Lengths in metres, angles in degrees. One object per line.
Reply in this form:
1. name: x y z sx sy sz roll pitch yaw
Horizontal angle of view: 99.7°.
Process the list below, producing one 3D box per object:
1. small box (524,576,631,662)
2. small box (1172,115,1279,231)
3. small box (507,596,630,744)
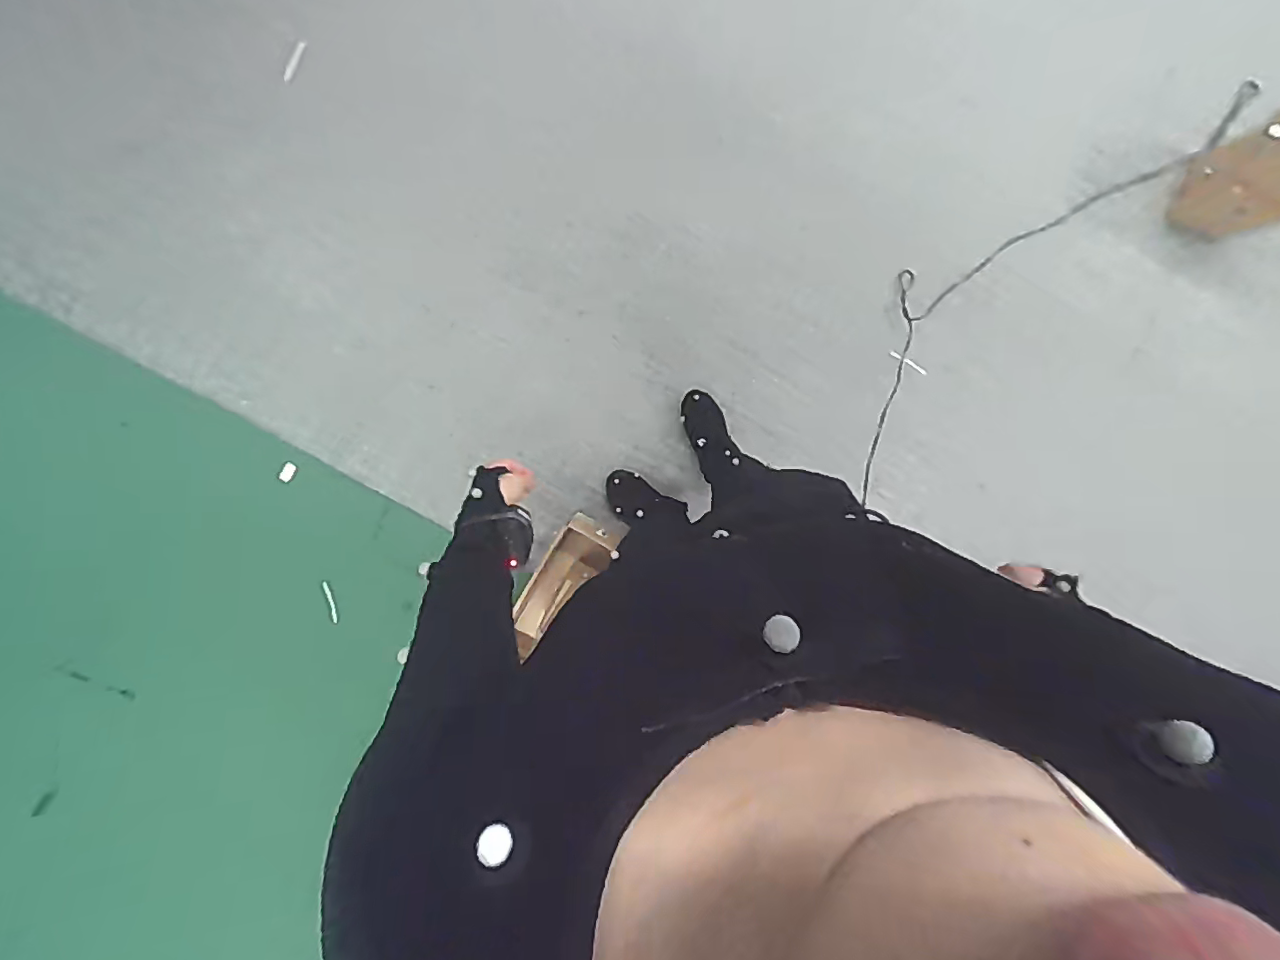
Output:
1. small box: -0.131 0.341 1.202 0.168 0.176 0.179 32 92 -4
2. small box: 1.492 -0.744 1.333 0.179 0.176 0.168 21 96 -3
3. small box: -0.127 0.354 1.038 0.168 0.176 0.179 29 94 -4
